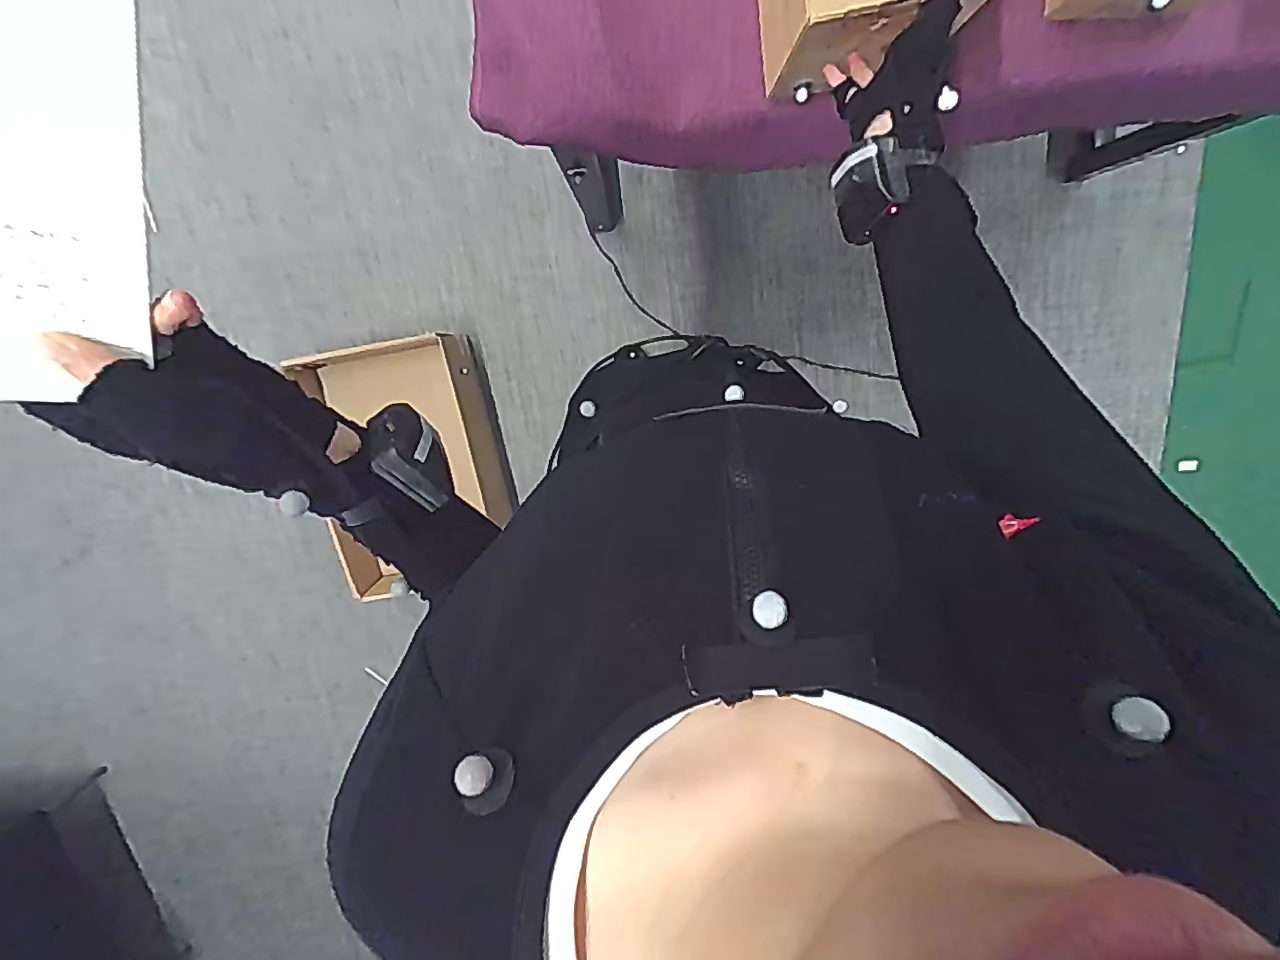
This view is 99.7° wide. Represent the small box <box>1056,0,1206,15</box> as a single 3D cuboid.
[{"bbox_3d":[0.519,-0.570,0.486,0.168,0.176,0.179,-1,105,1],"label":"small box"}]

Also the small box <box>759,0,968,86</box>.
[{"bbox_3d":[0.210,-0.506,0.508,0.168,0.176,0.179,-9,104,3],"label":"small box"}]
